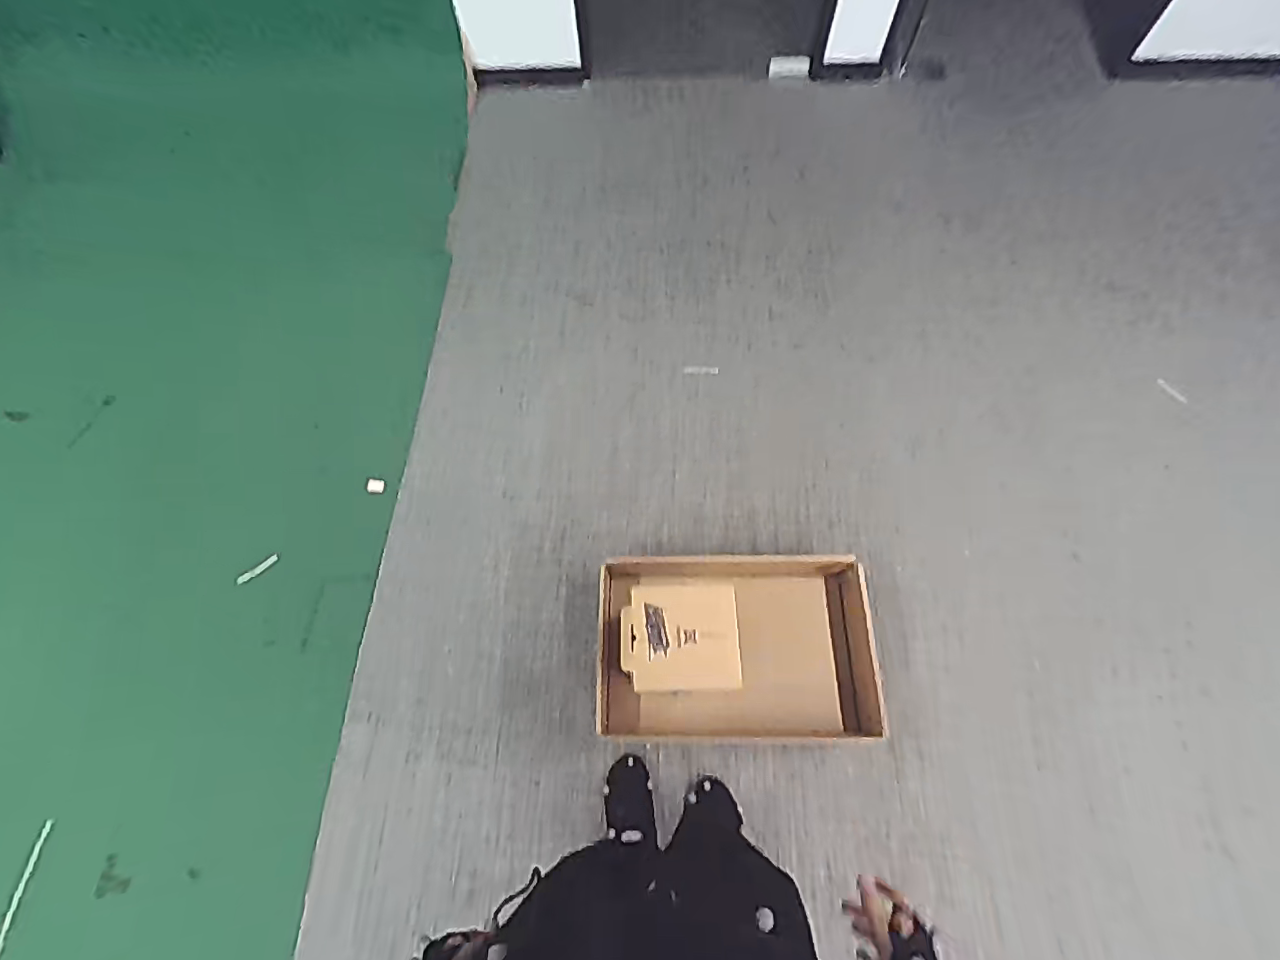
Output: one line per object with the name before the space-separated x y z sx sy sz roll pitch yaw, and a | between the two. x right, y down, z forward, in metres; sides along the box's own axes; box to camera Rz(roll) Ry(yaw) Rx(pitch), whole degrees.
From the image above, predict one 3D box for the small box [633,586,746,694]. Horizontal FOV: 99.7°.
small box | 0.081 0.285 0.949 0.179 0.176 0.168 -2 69 0
